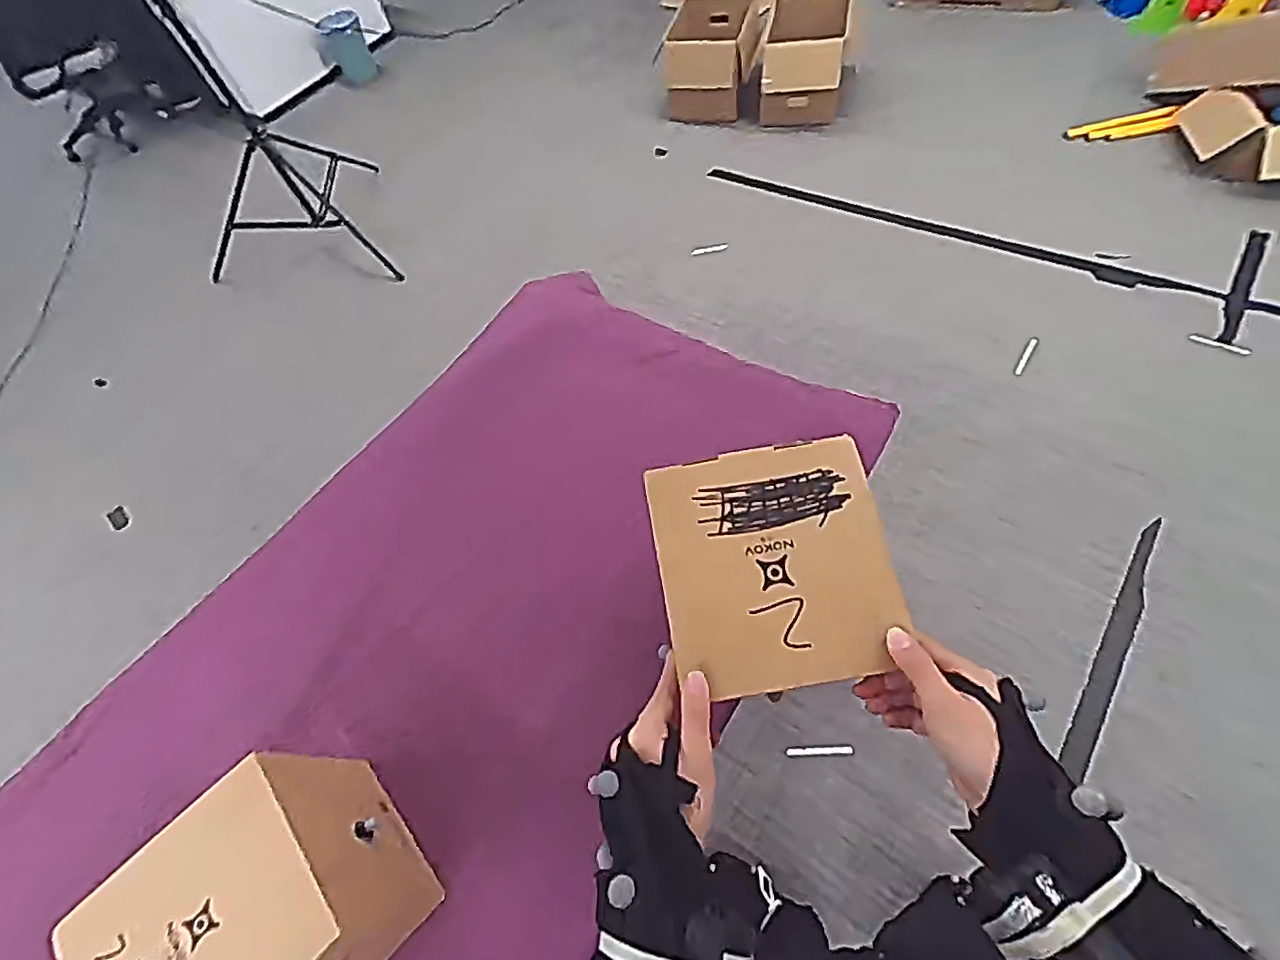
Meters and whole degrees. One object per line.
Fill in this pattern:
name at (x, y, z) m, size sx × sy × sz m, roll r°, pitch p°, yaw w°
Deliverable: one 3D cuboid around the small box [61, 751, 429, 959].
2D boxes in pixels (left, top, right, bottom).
small box at (-0.312, 0.367, 0.466) m, size 0.168 × 0.176 × 0.179 m, roll 38°, pitch 73°, yaw 27°
